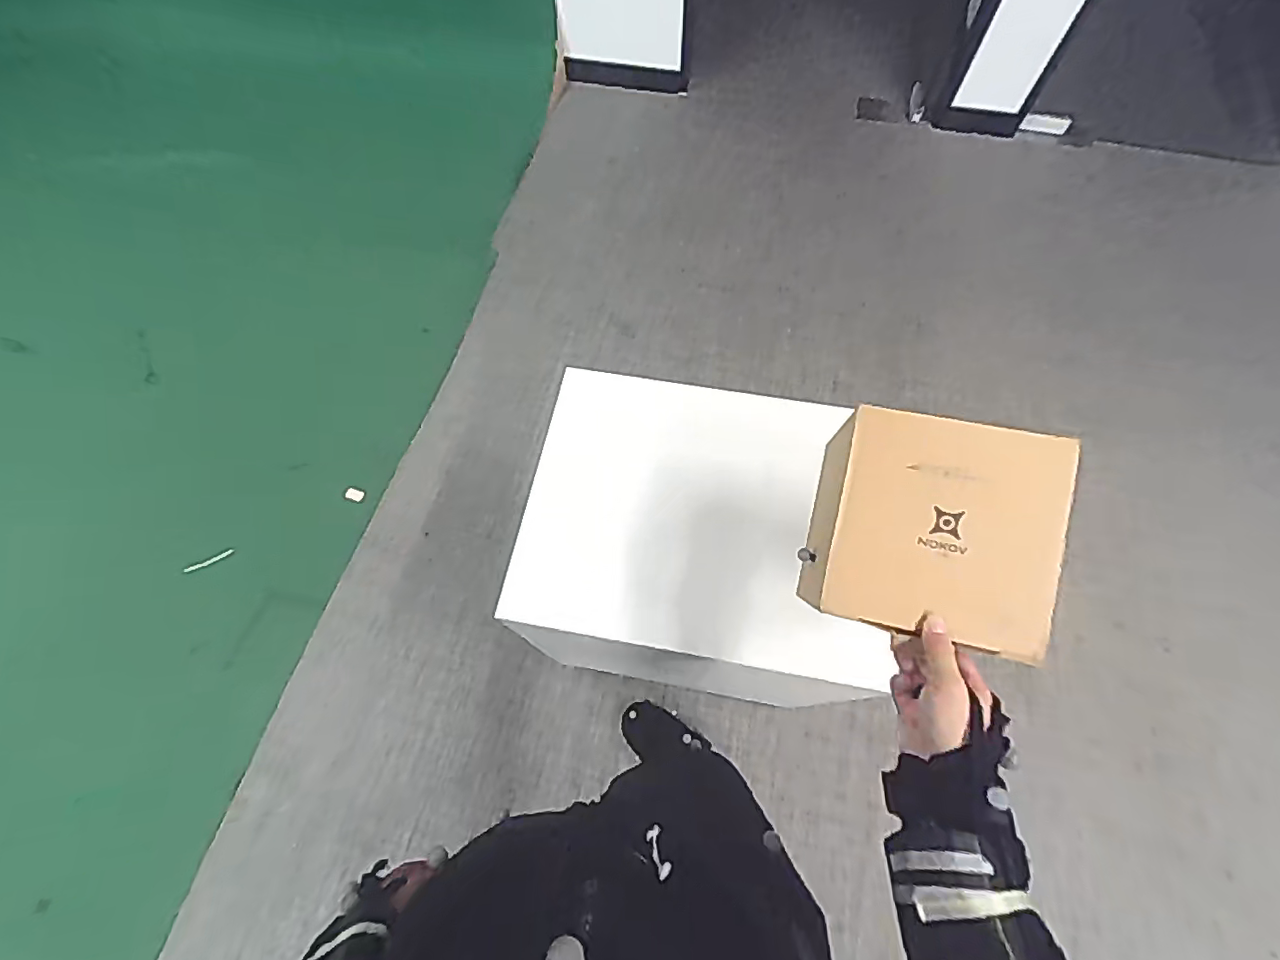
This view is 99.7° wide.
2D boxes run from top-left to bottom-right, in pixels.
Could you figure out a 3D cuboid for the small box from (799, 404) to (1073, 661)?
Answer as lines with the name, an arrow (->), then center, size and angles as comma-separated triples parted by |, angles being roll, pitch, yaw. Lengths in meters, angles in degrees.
small box -> 0.250, 0.046, 0.501 | 0.168, 0.176, 0.179 | 11, 84, 10
